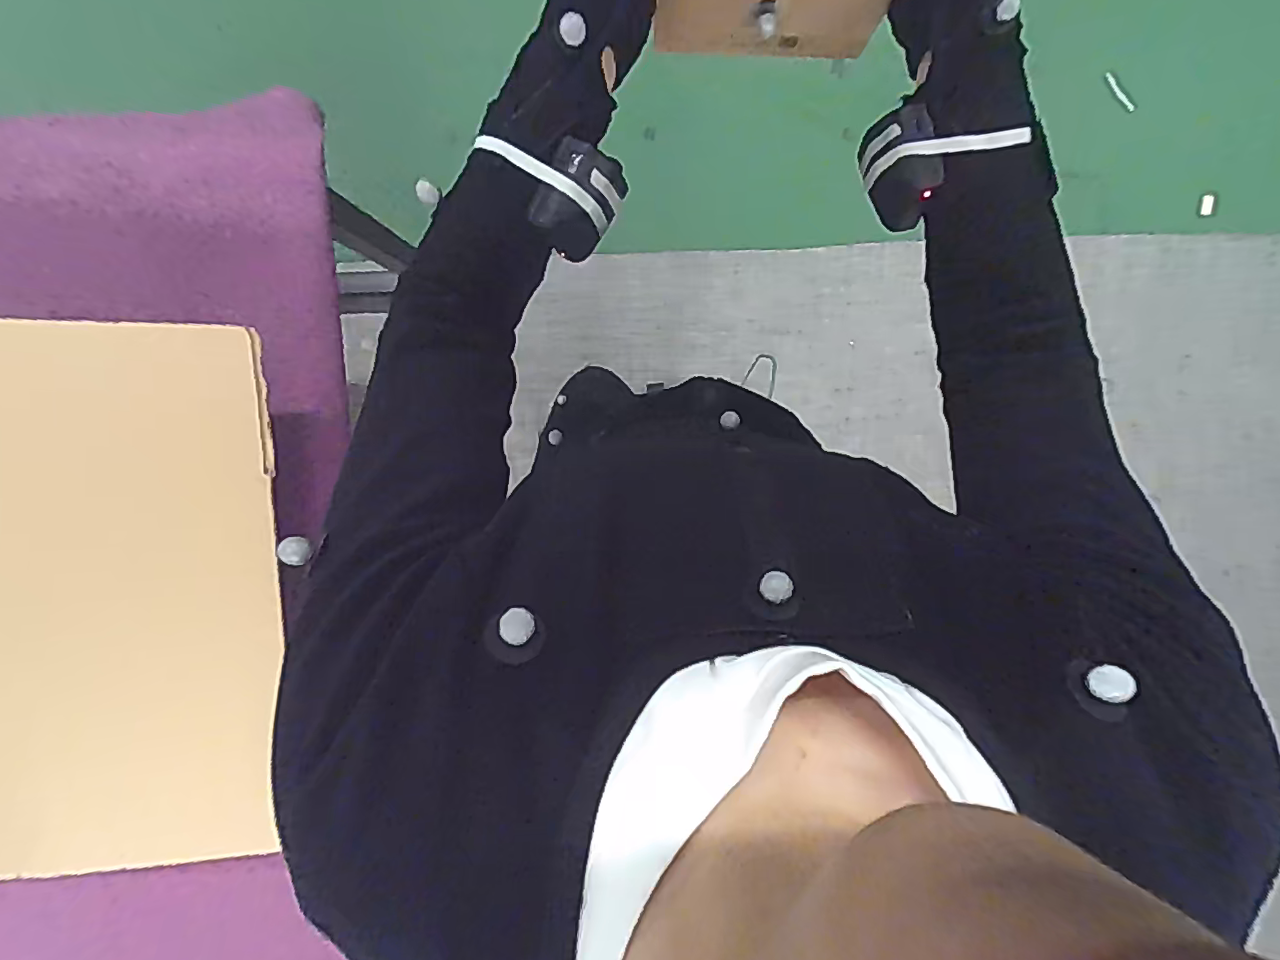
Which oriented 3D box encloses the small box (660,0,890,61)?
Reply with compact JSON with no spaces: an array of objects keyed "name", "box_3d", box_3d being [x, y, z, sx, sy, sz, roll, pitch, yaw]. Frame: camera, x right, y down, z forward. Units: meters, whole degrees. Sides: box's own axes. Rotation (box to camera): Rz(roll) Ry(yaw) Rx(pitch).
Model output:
[{"name":"small box","box_3d":[0.098,-0.415,0.343,0.168,0.176,0.179,4,101,2]}]
